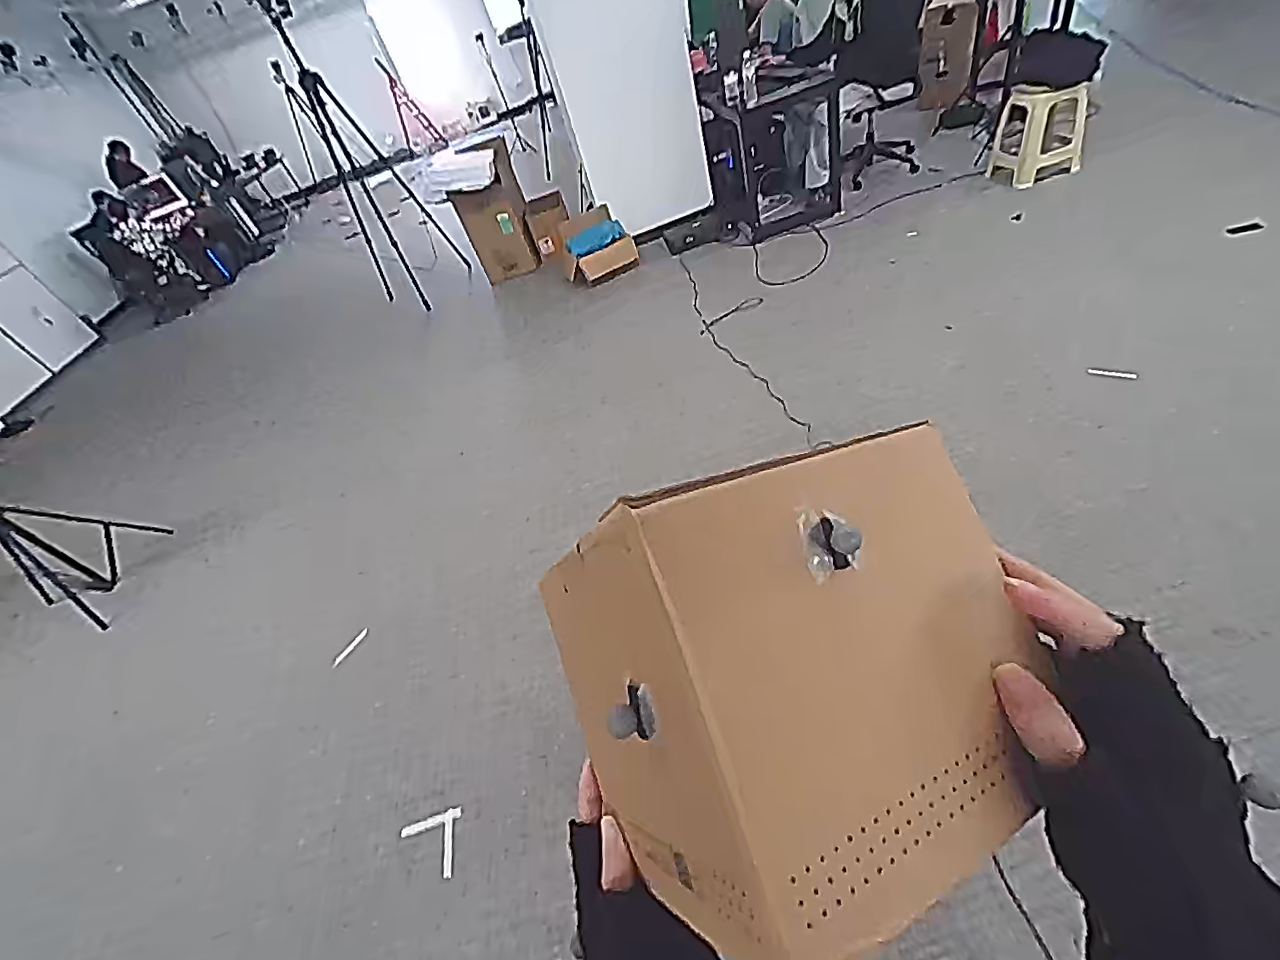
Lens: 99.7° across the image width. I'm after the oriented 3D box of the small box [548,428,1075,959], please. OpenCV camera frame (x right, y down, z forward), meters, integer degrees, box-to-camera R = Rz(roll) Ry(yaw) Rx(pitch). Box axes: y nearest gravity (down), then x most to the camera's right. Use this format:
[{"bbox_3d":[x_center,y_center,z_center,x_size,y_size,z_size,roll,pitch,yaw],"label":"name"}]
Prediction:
[{"bbox_3d":[0.071,0.096,0.284,0.179,0.168,0.176,-14,76,-25],"label":"small box"}]
